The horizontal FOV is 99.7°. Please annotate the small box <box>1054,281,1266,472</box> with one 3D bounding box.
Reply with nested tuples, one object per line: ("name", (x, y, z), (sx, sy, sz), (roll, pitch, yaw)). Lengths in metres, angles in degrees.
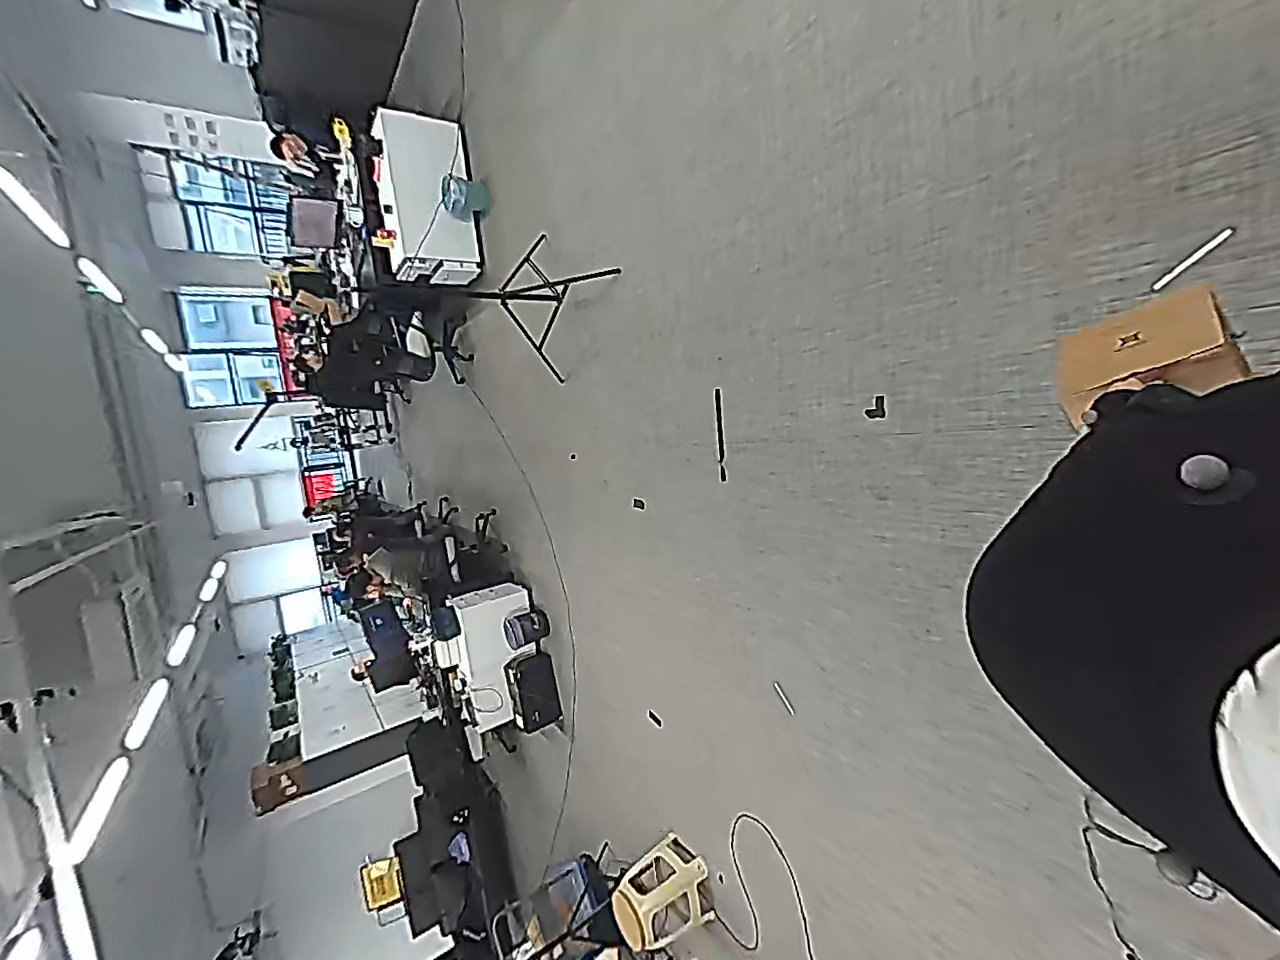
("small box", (0.707, -0.129, 0.747), (0.176, 0.179, 0.168), (47, 142, -16))
